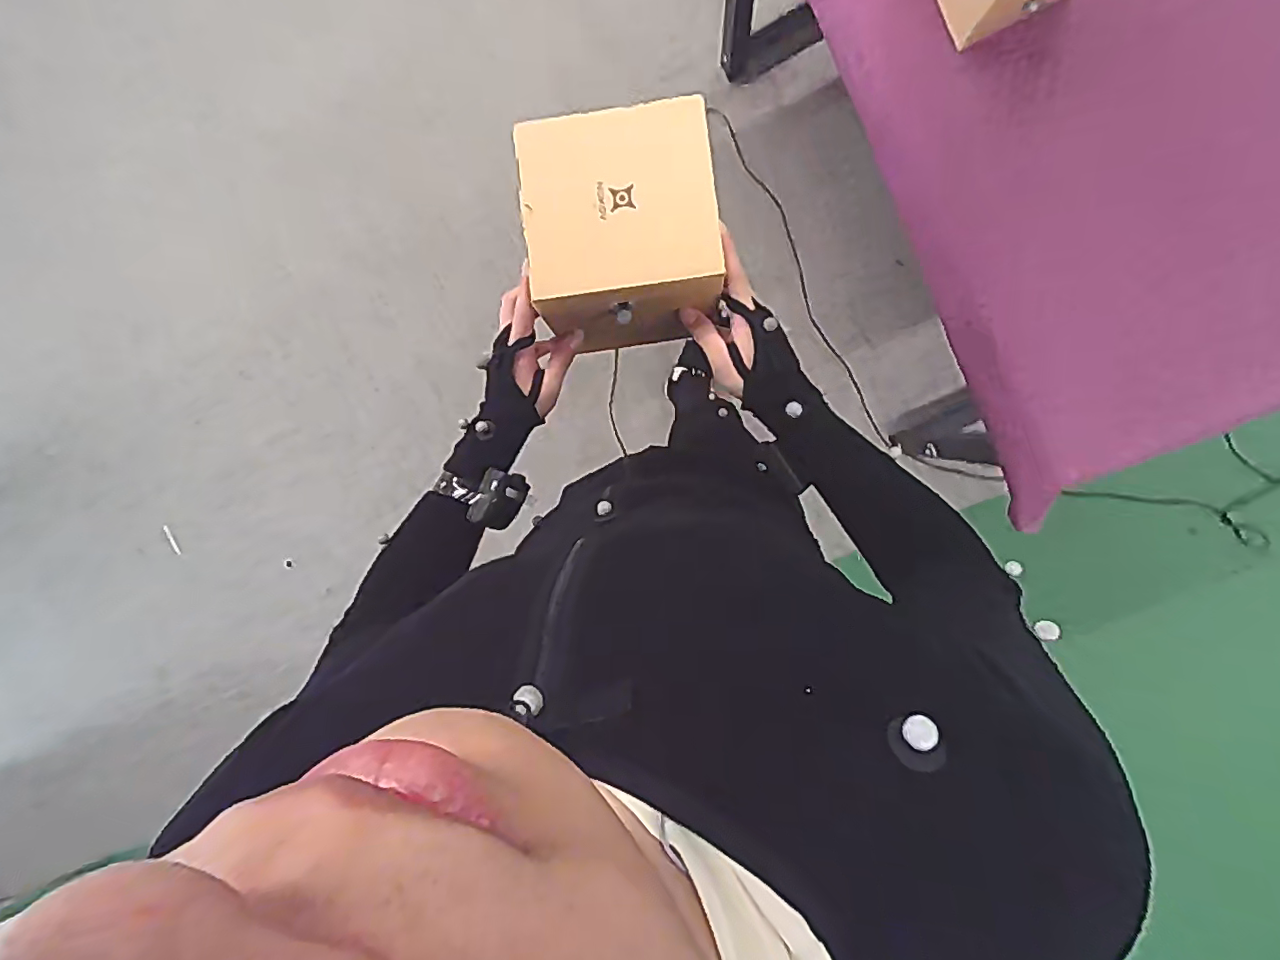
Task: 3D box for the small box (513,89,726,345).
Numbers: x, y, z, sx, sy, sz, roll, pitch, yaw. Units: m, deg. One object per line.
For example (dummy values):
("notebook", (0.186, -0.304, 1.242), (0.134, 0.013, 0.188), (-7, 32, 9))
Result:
("small box", (-0.014, -0.249, 0.554), (0.179, 0.176, 0.168), (-7, 86, 5))
